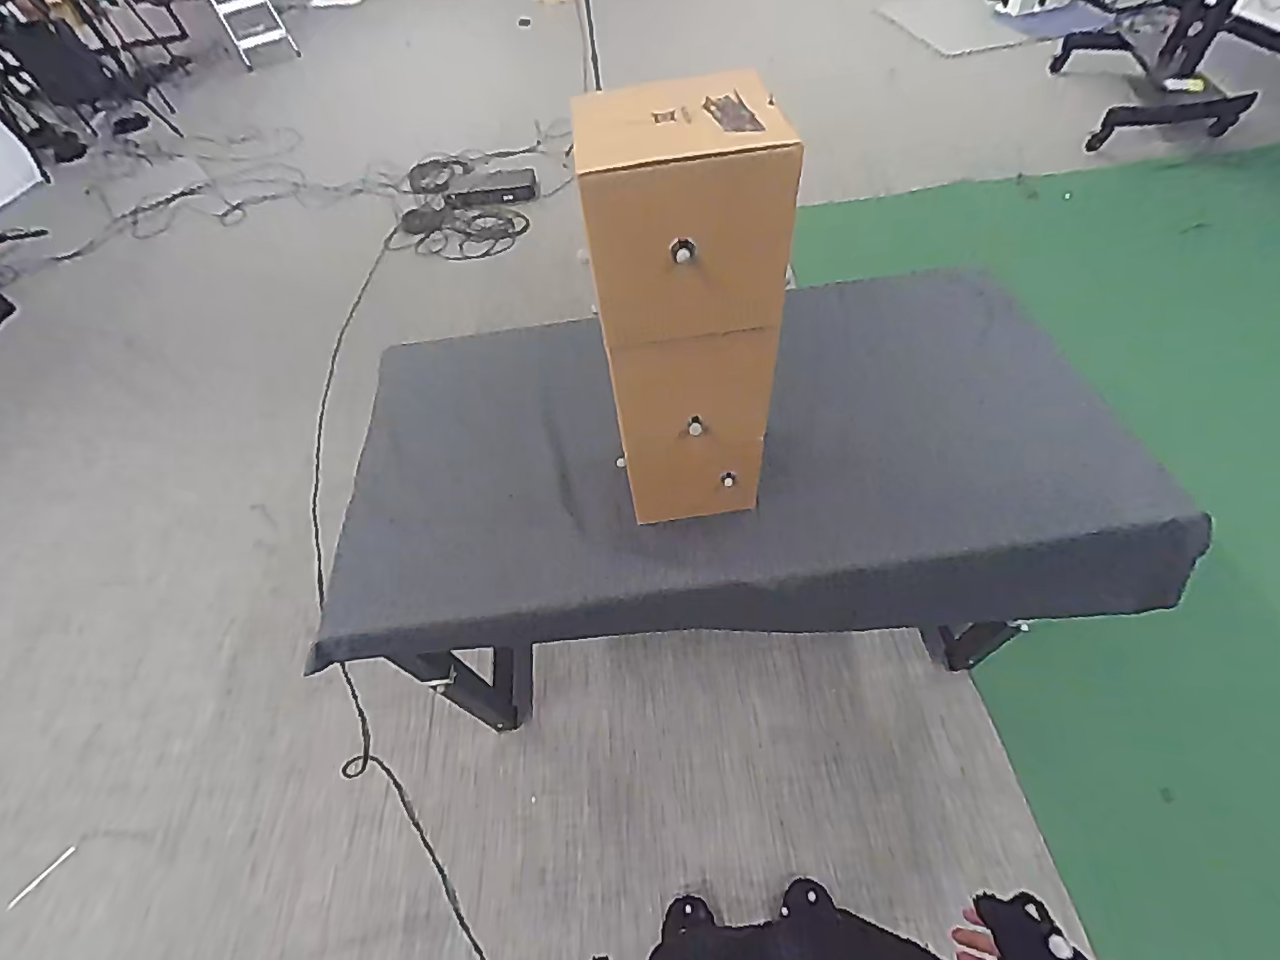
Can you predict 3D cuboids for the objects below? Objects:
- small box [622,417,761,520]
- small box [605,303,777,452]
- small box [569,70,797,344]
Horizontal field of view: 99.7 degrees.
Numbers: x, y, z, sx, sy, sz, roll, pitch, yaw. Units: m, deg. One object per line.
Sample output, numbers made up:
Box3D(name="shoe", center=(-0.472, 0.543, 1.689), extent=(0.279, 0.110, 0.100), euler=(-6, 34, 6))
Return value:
Box3D(name="small box", center=(0.064, -0.061, 0.782), extent=(0.179, 0.176, 0.168), euler=(-10, 53, 1))
Box3D(name="small box", center=(0.049, -0.156, 0.653), extent=(0.179, 0.176, 0.168), euler=(-11, 55, -1))
Box3D(name="small box", center=(0.034, -0.254, 0.519), extent=(0.179, 0.176, 0.168), euler=(-8, 53, 2))
